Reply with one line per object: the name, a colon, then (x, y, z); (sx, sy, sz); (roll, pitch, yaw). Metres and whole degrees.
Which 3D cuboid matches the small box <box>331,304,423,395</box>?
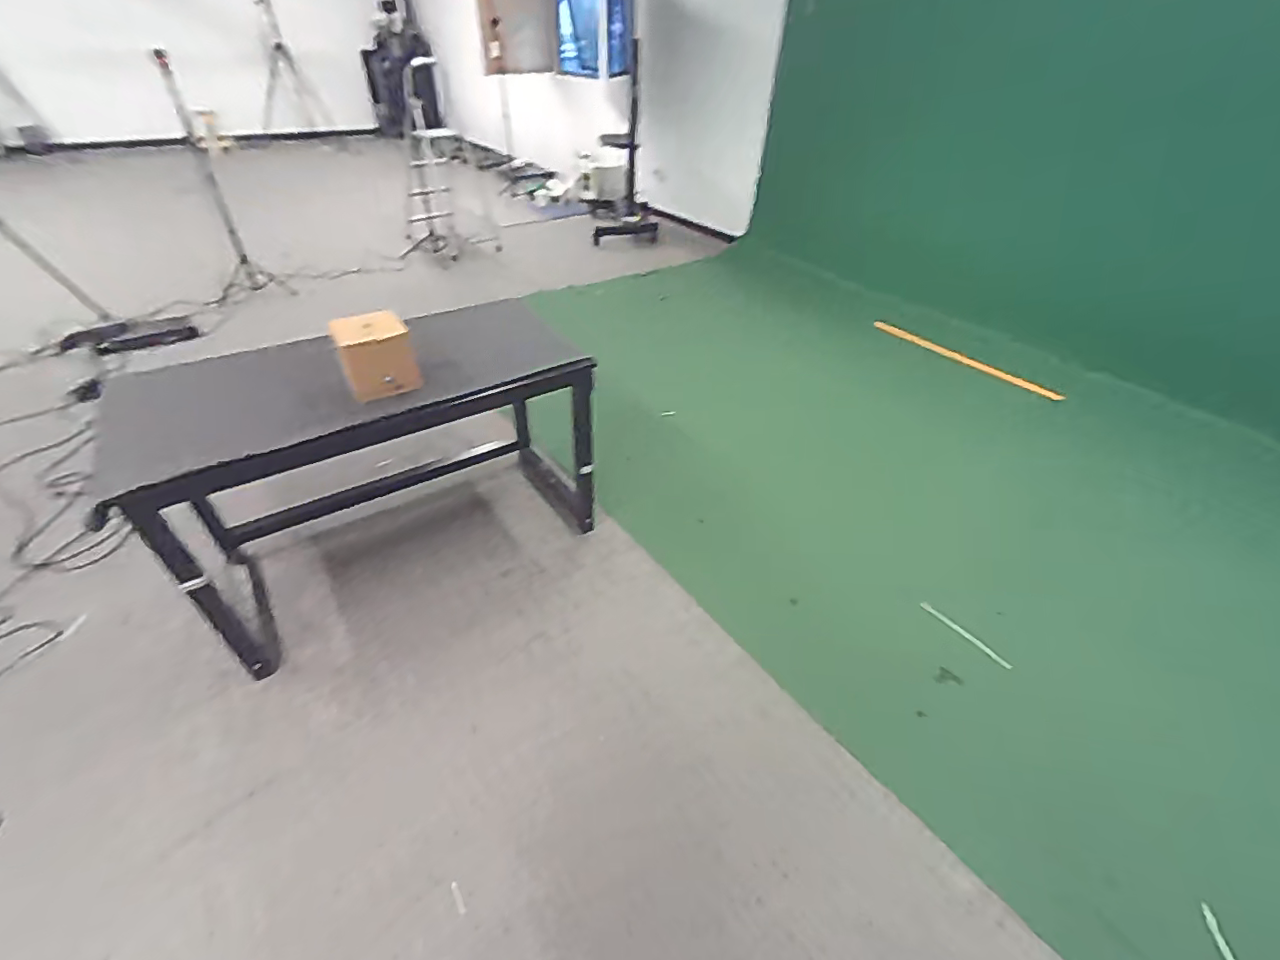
small box: (-0.710, -0.354, 1.468); (0.168, 0.176, 0.179); (-23, 46, -26)
